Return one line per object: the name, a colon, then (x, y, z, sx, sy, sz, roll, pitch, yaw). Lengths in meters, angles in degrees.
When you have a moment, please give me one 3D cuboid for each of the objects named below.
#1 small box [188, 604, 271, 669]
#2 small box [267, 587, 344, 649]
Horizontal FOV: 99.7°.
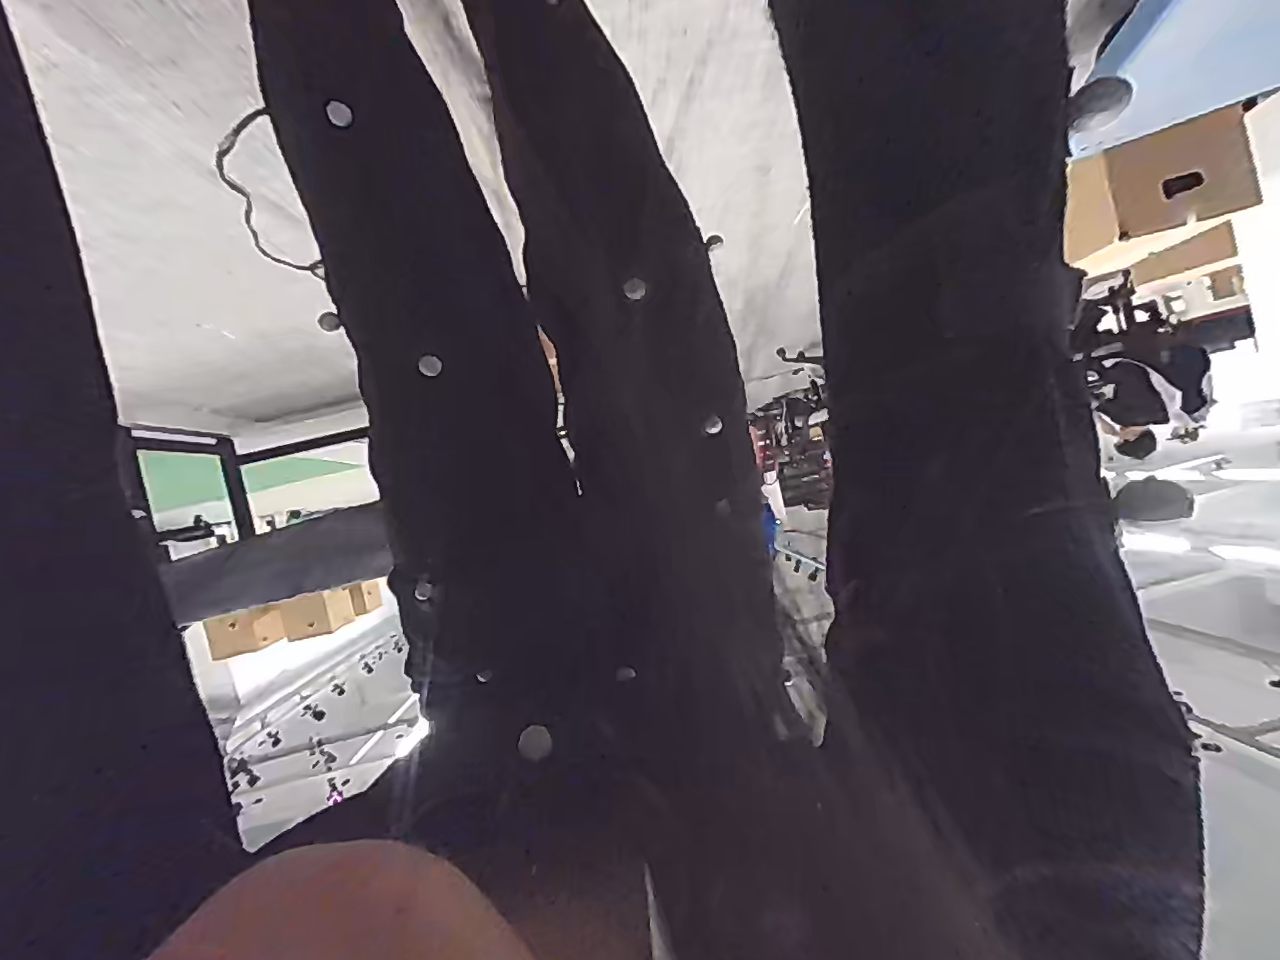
small box: (-1.507, 0.568, 1.992, 0.168, 0.176, 0.179, -14, 180, -7)
small box: (-1.255, 0.509, 2.029, 0.179, 0.176, 0.168, -13, 180, -1)
